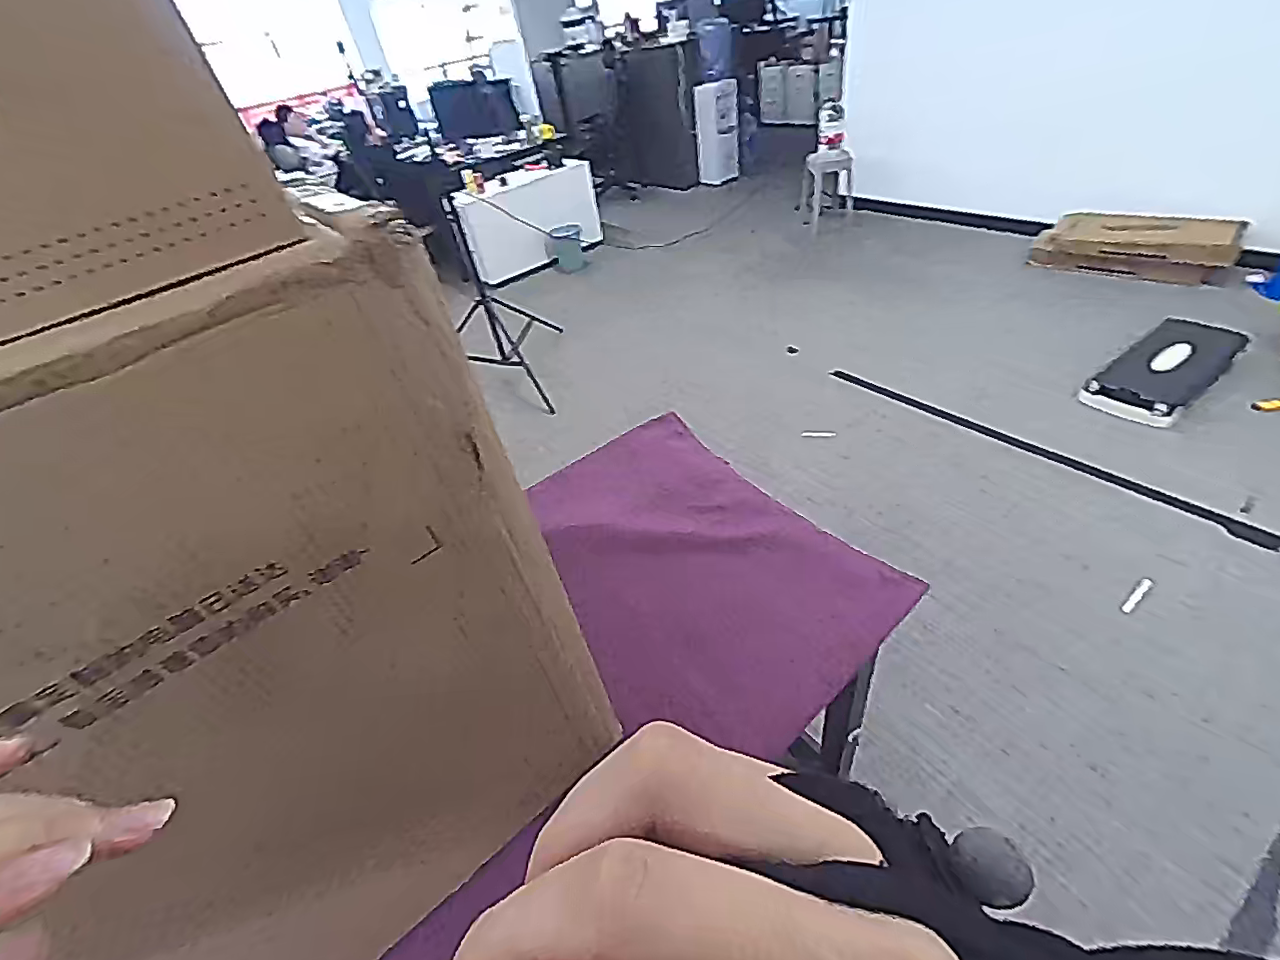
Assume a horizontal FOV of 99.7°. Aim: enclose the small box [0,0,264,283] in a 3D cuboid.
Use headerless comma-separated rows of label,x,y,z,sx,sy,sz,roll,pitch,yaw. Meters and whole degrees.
small box,-0.394,-0.247,0.352,0.179,0.176,0.168,-34,45,-23
